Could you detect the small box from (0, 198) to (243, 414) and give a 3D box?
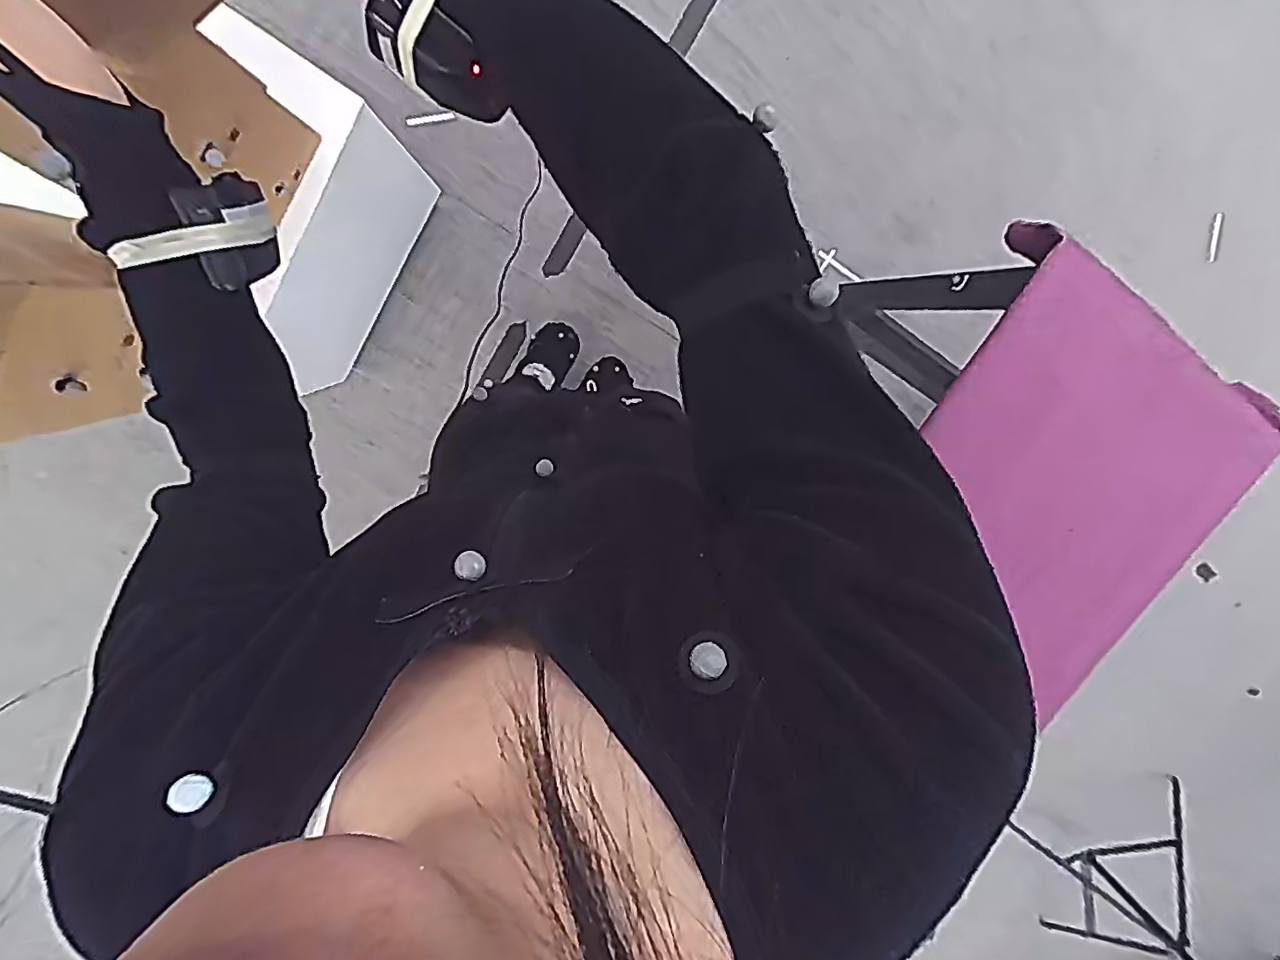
[{"bbox_3d":[-0.646,-0.202,0.661,0.179,0.176,0.168,30,99,-16],"label":"small box"}]

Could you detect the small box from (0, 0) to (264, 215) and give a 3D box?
[{"bbox_3d":[-0.481,-0.357,0.465,0.179,0.176,0.168,31,100,-18],"label":"small box"}]

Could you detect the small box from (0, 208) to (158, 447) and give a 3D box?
[{"bbox_3d":[-0.618,-0.155,0.507,0.179,0.176,0.168,28,100,-16],"label":"small box"}]
